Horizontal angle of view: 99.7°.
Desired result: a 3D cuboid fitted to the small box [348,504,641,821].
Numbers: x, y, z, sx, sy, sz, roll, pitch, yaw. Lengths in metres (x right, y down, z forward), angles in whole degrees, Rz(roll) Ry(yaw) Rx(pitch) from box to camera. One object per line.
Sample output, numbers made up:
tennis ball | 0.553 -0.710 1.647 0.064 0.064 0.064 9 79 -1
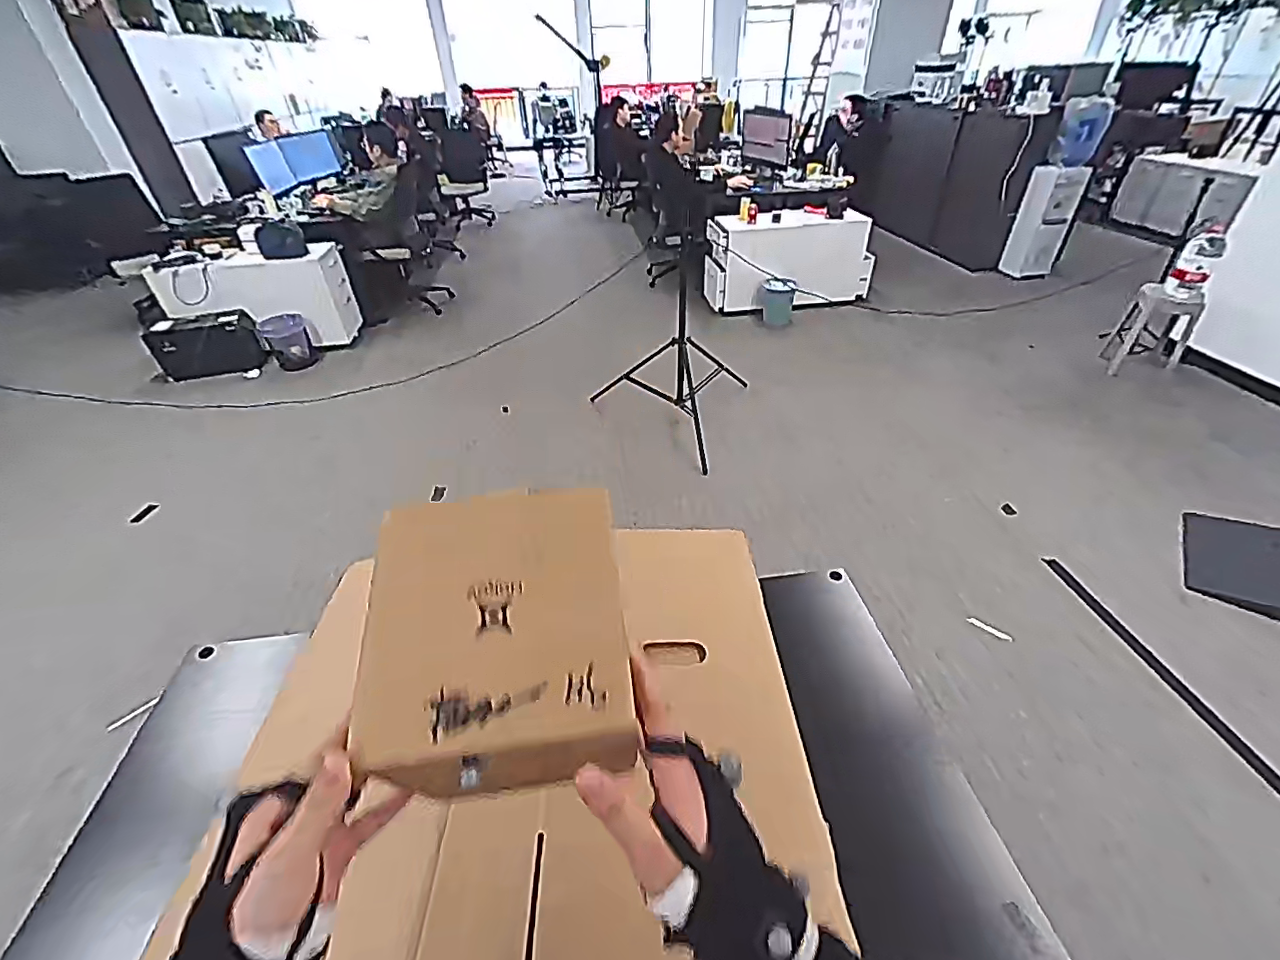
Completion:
small box | -0.093 0.142 0.418 0.168 0.176 0.179 -6 53 -5
